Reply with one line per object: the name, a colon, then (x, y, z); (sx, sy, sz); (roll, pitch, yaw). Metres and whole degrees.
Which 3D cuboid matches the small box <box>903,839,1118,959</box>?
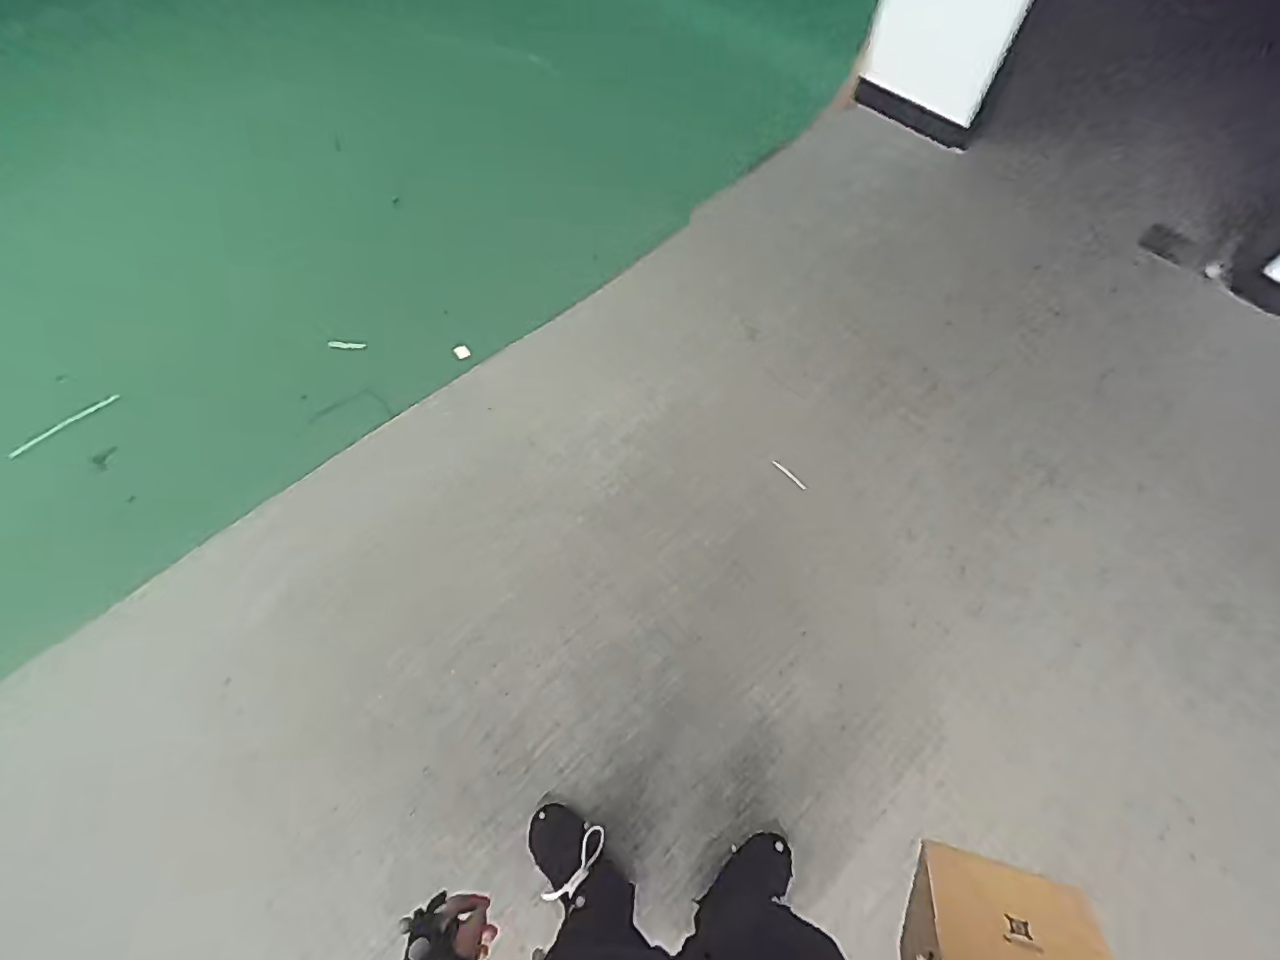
small box: (0.381, 0.538, 0.563); (0.168, 0.179, 0.176); (9, 104, 20)
